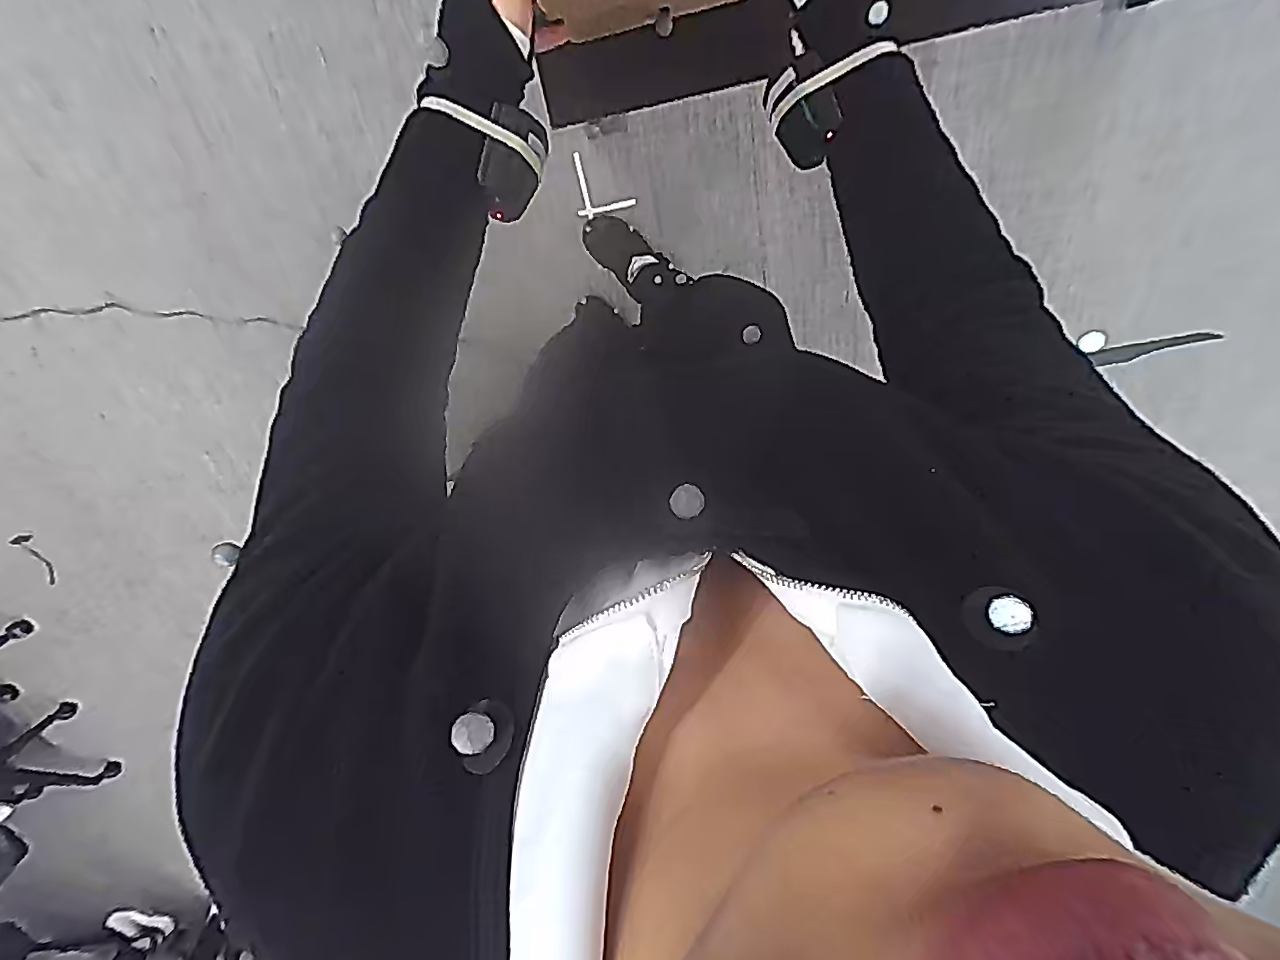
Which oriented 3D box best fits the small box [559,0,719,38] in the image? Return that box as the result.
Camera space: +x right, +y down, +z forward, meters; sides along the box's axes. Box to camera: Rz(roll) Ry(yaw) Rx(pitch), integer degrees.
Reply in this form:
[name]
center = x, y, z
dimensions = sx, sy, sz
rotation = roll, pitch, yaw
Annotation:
[small box]
center = 0.003, -0.476, 0.416
dimensions = 0.179, 0.176, 0.168
rotation = -12, 120, 4
